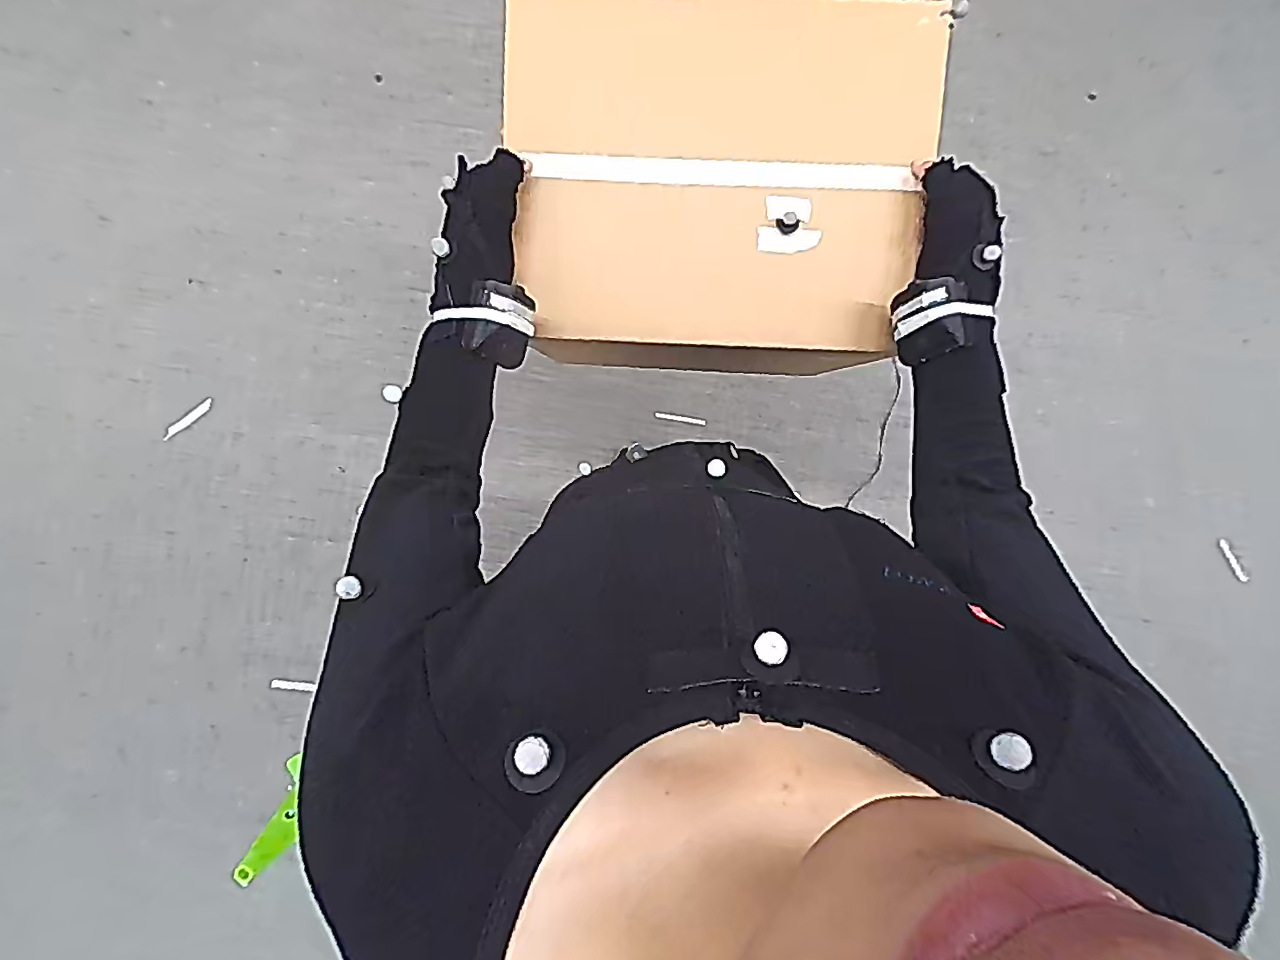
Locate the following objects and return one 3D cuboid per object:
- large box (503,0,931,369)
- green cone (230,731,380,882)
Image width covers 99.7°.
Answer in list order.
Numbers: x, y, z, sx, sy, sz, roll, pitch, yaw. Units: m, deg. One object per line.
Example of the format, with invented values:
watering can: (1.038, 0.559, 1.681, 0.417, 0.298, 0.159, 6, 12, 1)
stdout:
large box: (0.066, -0.308, 0.661, 0.408, 0.320, 0.320, 2, 97, -1)
green cone: (-0.850, 0.827, 1.331, 0.202, 0.368, 0.200, -29, 92, 2)
